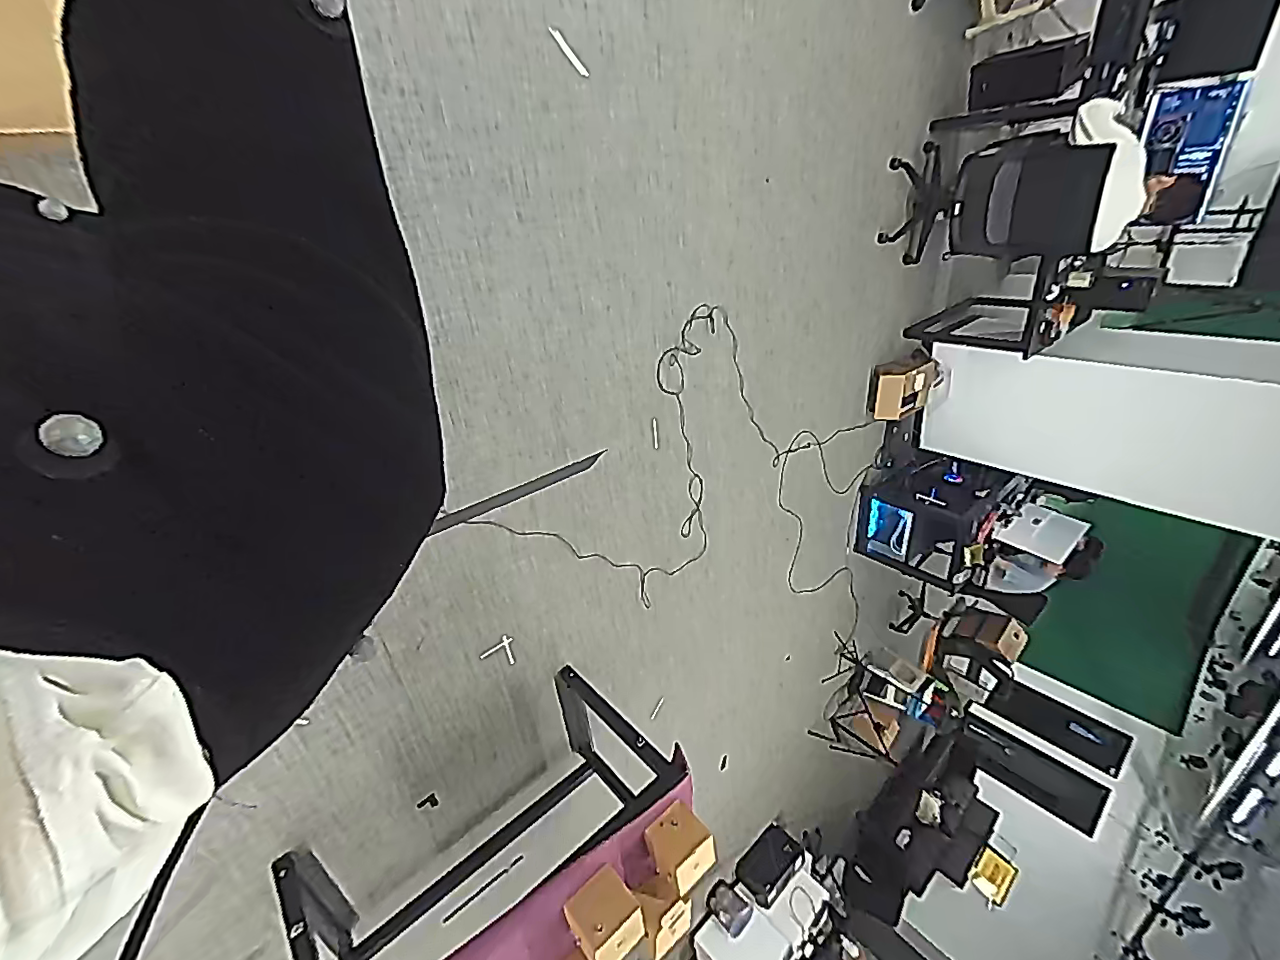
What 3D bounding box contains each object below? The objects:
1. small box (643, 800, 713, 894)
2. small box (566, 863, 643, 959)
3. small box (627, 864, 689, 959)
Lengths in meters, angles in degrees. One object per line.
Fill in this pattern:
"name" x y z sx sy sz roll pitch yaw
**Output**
"small box" 0.130 1.251 1.857 0.168 0.176 0.179 -28 125 -30
"small box" -0.114 1.349 1.670 0.179 0.176 0.168 -26 124 -34
"small box" 0.054 1.499 1.895 0.168 0.176 0.179 -20 120 -36
